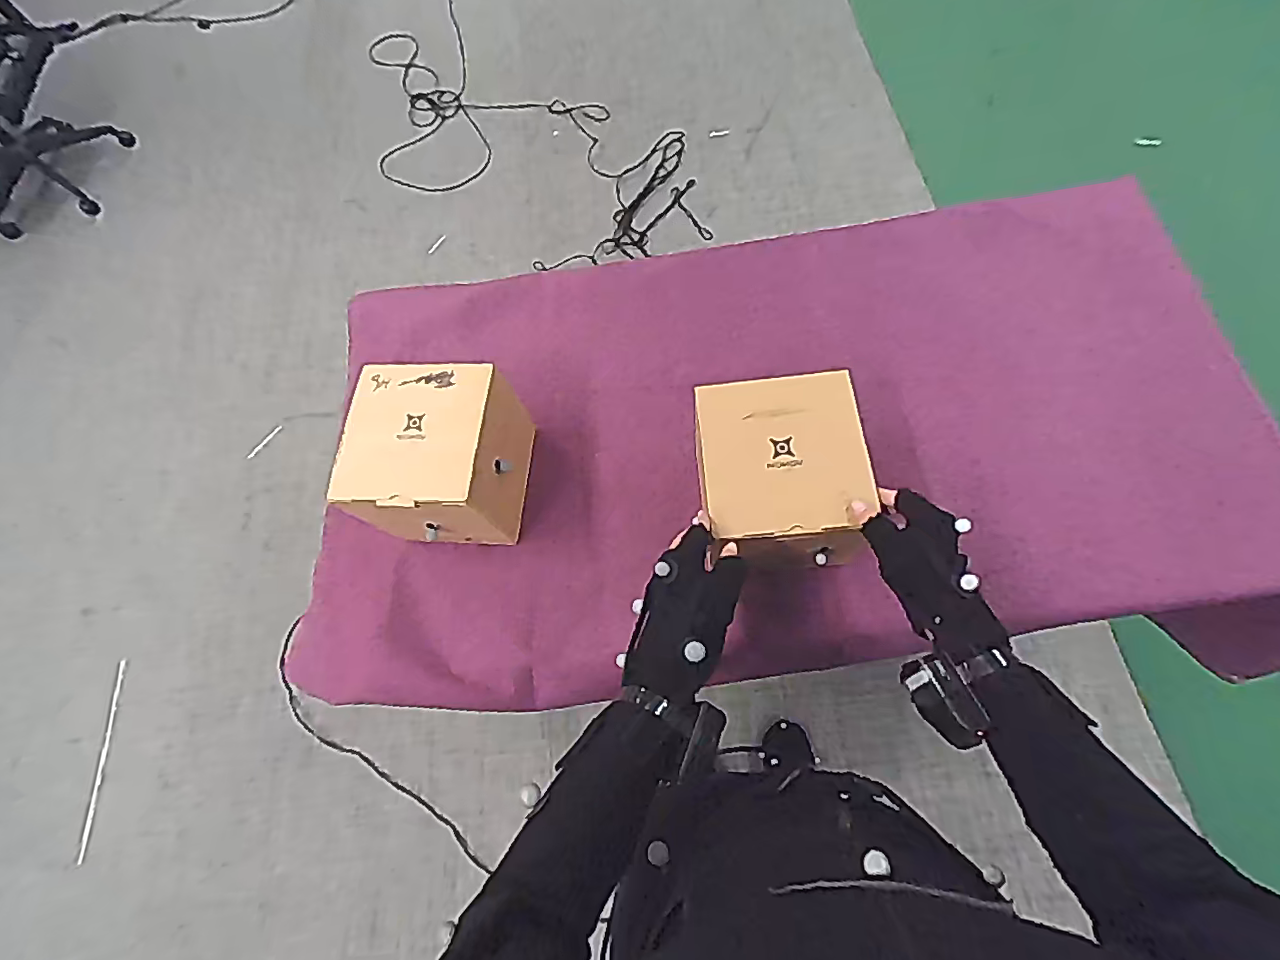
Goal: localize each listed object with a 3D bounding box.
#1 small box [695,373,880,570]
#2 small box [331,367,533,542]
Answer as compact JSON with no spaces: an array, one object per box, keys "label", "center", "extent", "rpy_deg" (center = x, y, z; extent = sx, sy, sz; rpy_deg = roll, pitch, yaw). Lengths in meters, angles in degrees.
[{"label":"small box","center":[0.155,0.002,0.623],"extent":[0.168,0.176,0.179],"rpy_deg":[-5,67,5]},{"label":"small box","center":[-0.244,-0.024,0.683],"extent":[0.168,0.176,0.179],"rpy_deg":[1,69,7]}]
